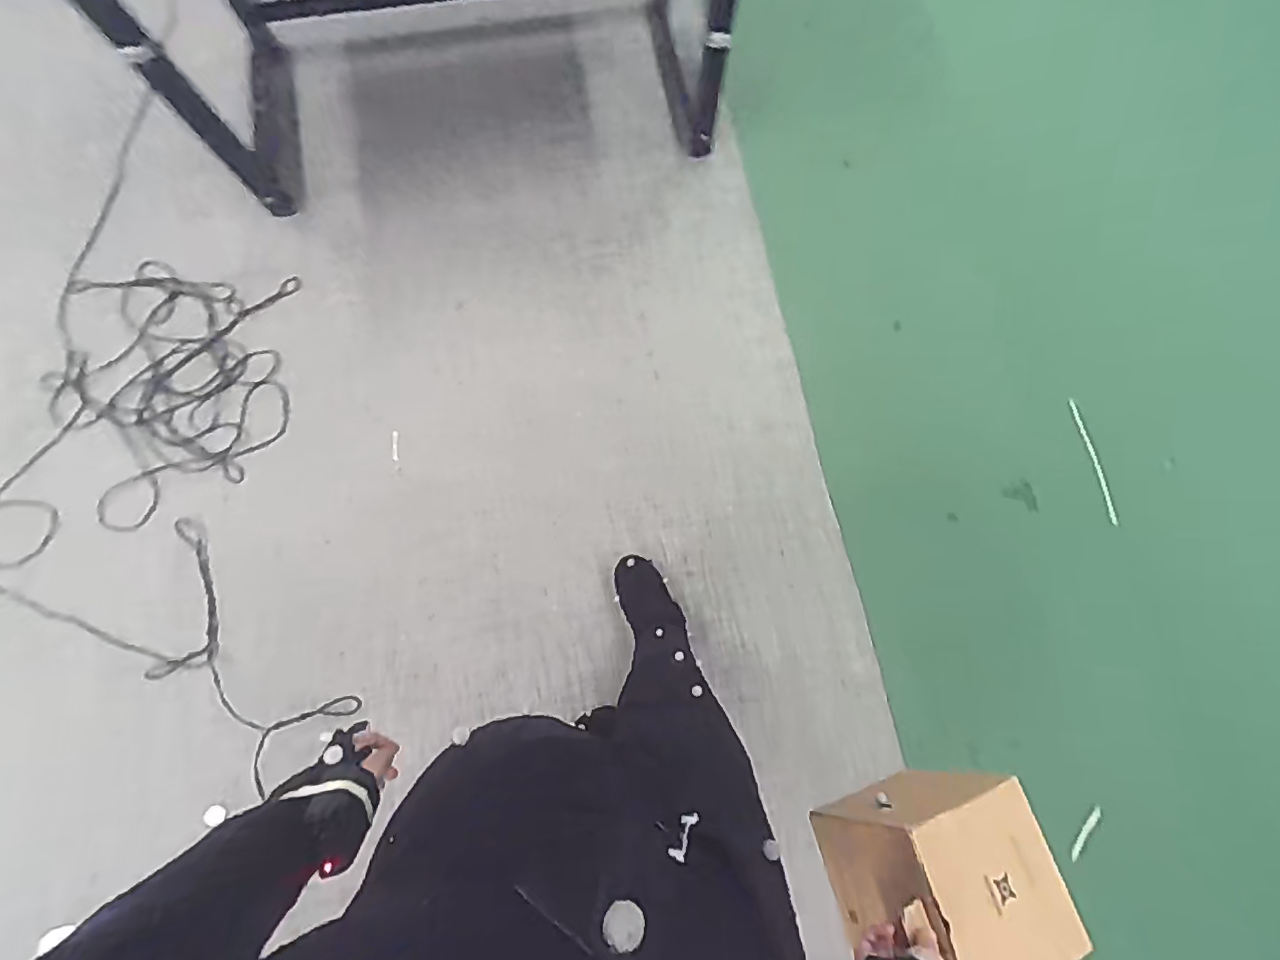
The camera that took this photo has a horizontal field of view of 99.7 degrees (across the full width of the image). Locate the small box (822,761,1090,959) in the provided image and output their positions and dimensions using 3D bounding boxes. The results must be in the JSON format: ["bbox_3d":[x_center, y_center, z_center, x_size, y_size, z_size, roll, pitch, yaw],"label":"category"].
[{"bbox_3d":[0.333,0.431,0.608,0.179,0.176,0.168,-6,69,-26],"label":"small box"}]
